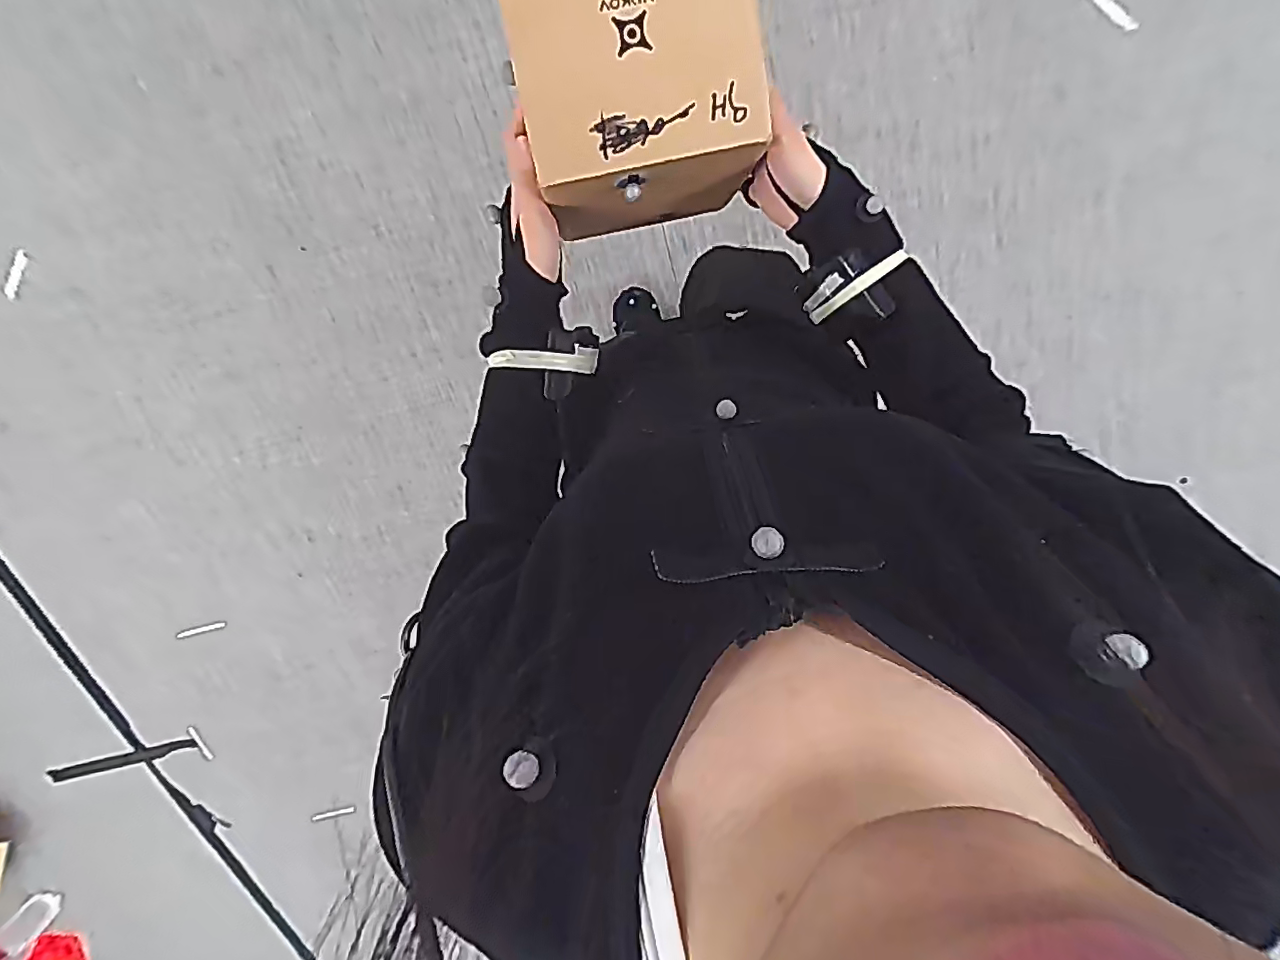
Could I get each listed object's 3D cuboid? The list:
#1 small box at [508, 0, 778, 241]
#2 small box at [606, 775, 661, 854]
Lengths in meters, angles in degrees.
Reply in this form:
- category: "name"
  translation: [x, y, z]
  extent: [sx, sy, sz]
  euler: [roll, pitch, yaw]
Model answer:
- category: "small box"
  translation: [-0.006, -0.313, 0.428]
  extent: [0.168, 0.176, 0.179]
  euler: [-12, 102, 0]
- category: "small box"
  translation: [-0.027, 1.139, 1.848]
  extent: [0.179, 0.176, 0.168]
  euler: [0, 109, -4]
